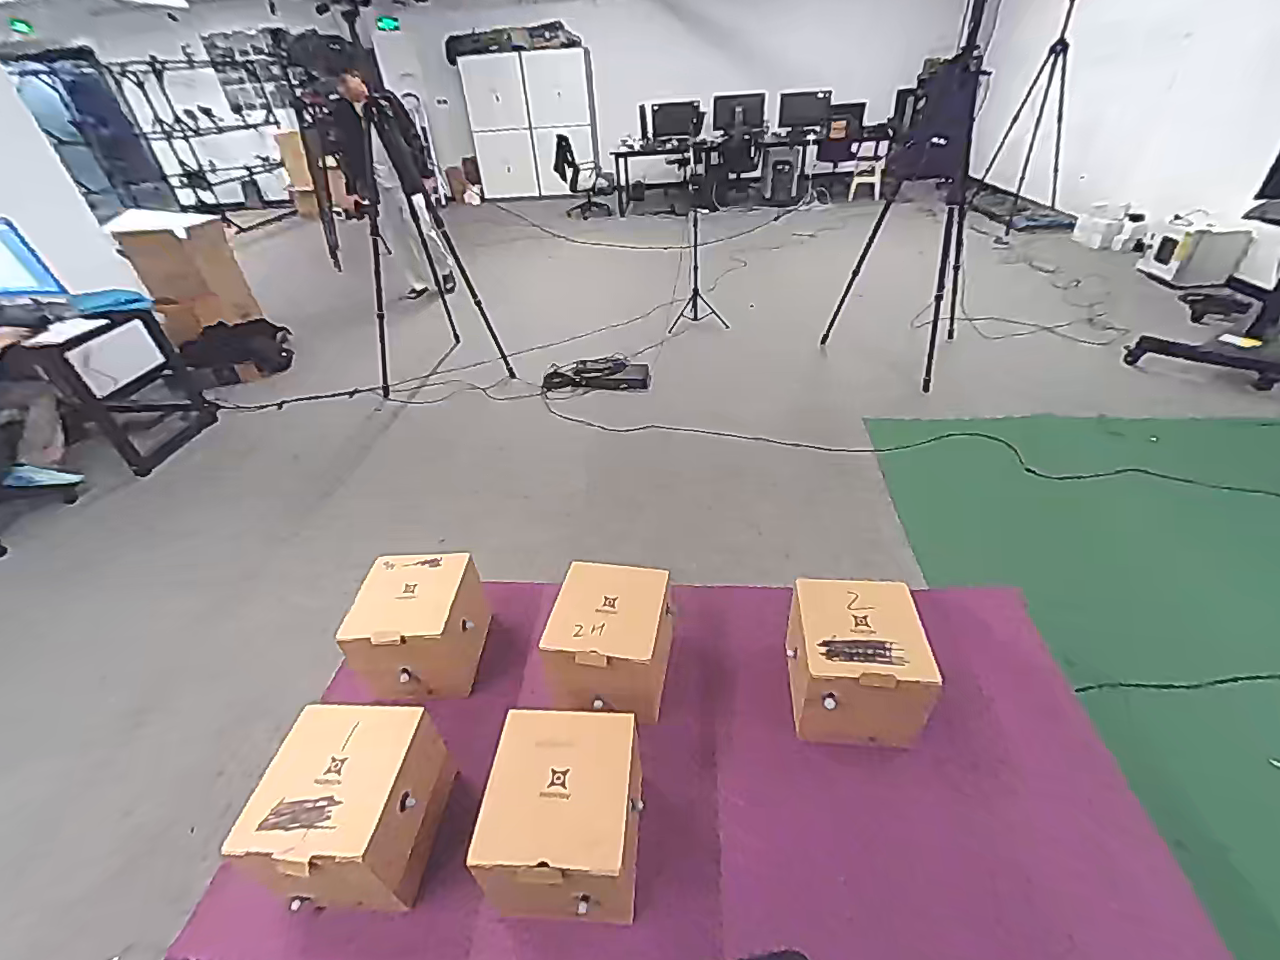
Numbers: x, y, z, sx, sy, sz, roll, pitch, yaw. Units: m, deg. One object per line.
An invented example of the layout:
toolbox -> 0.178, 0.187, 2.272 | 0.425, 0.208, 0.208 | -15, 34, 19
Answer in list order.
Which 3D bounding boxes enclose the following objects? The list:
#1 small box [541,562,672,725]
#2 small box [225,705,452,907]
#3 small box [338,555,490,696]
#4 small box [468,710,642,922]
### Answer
small box -> -0.042, 0.258, 0.869 | 0.168, 0.176, 0.179 | 4, 38, 12
small box -> -0.361, 0.417, 0.694 | 0.168, 0.176, 0.179 | 0, 36, 5
small box -> -0.366, 0.250, 0.918 | 0.168, 0.176, 0.179 | -2, 38, 2
small box -> -0.088, 0.414, 0.669 | 0.168, 0.176, 0.179 | 0, 36, 6
